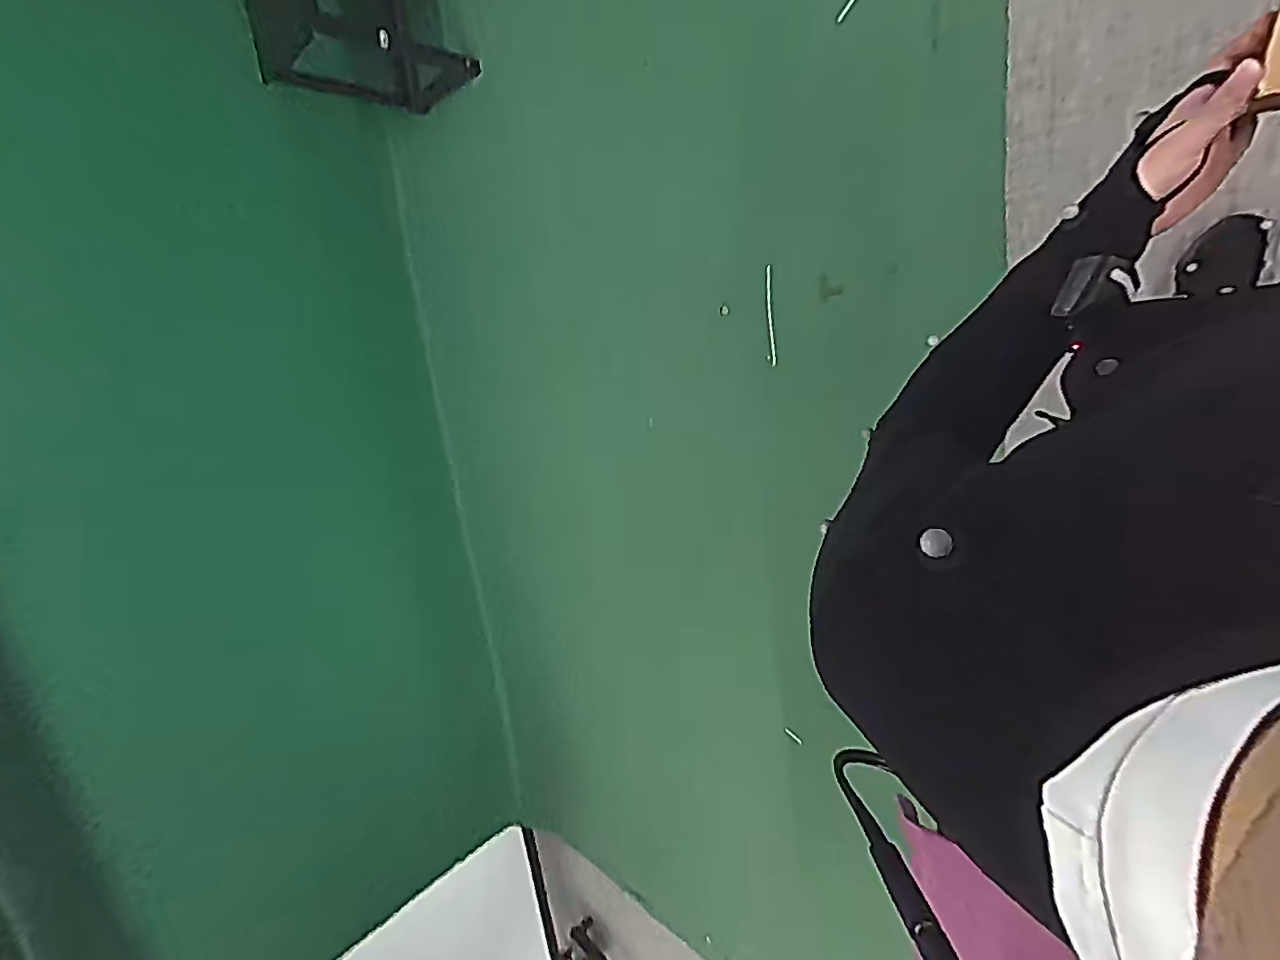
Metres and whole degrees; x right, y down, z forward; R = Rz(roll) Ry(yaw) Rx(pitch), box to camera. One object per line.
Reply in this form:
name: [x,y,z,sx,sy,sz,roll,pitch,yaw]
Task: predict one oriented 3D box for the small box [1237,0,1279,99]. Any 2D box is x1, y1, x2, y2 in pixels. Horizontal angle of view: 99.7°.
small box: [0.506,-0.348,0.323,0.168,0.176,0.179,17,122,41]
